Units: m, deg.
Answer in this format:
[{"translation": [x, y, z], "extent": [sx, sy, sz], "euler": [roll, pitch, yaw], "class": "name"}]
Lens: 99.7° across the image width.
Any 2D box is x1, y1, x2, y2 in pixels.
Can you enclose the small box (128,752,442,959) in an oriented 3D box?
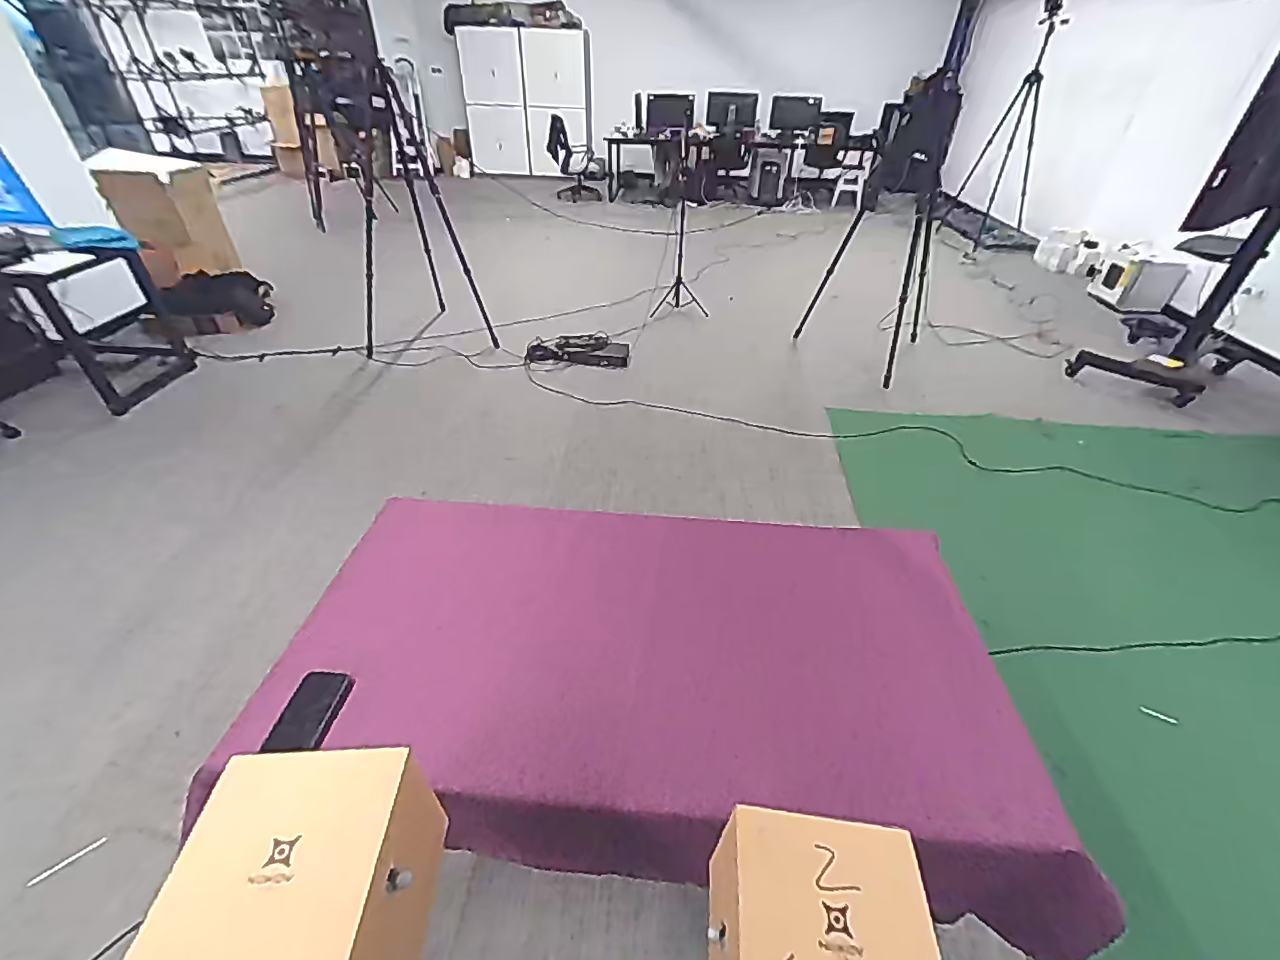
[{"translation": [-0.290, 0.373, 0.488], "extent": [0.168, 0.176, 0.179], "euler": [-1, 39, -3], "class": "small box"}]
